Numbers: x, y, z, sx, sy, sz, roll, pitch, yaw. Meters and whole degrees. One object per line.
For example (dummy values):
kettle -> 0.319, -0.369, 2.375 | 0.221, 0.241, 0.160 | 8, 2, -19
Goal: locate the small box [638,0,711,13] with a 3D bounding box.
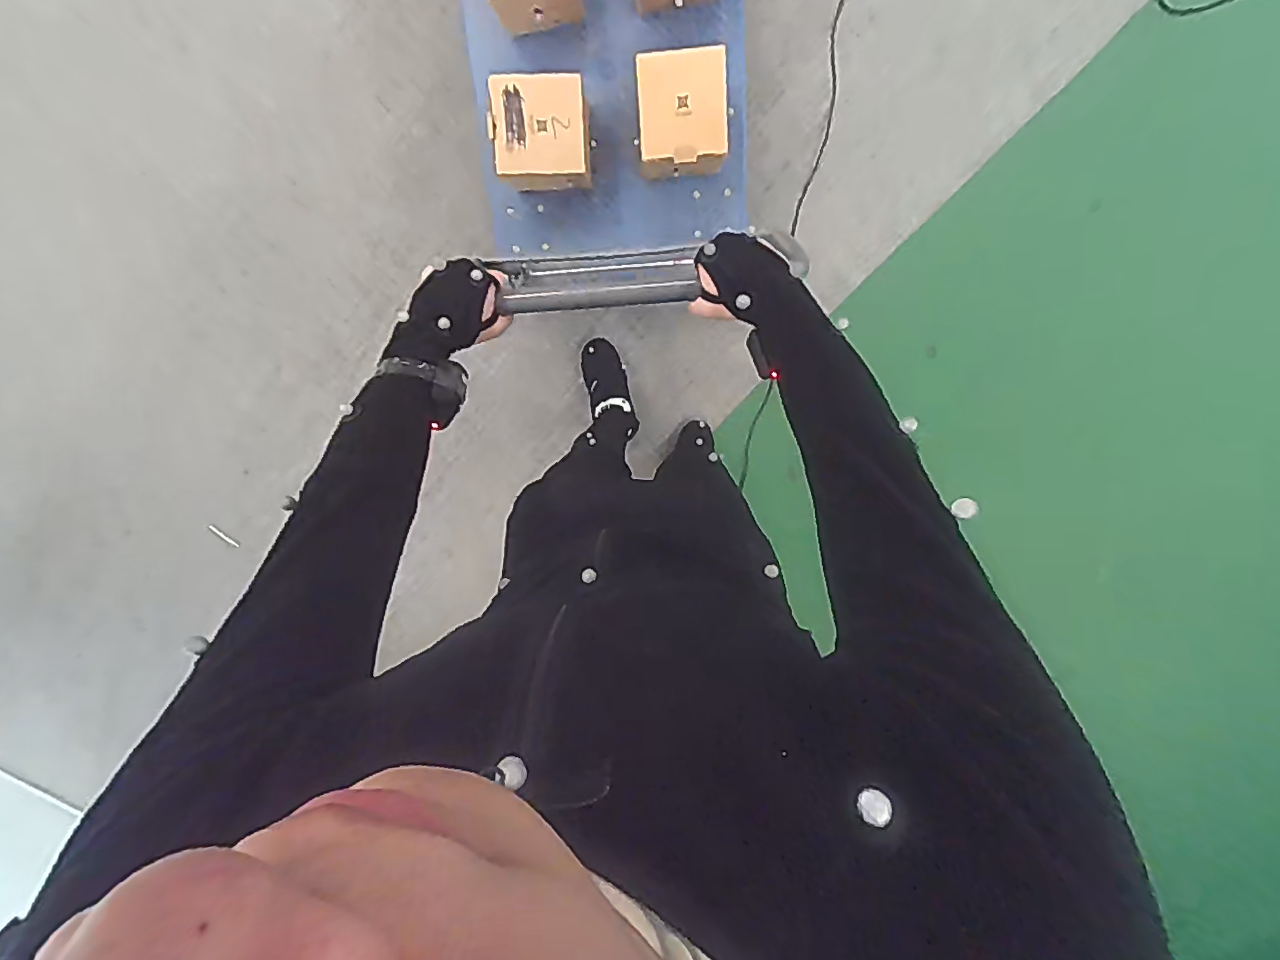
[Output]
small box -> 0.064, -1.005, 0.982 | 0.168, 0.176, 0.179 | -8, 110, 4

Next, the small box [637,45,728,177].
small box -> 0.081, -0.726, 1.082 | 0.168, 0.176, 0.179 | -4, 110, 2

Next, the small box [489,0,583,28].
small box -> -0.205, -0.975, 0.996 | 0.168, 0.176, 0.179 | -9, 109, 3
